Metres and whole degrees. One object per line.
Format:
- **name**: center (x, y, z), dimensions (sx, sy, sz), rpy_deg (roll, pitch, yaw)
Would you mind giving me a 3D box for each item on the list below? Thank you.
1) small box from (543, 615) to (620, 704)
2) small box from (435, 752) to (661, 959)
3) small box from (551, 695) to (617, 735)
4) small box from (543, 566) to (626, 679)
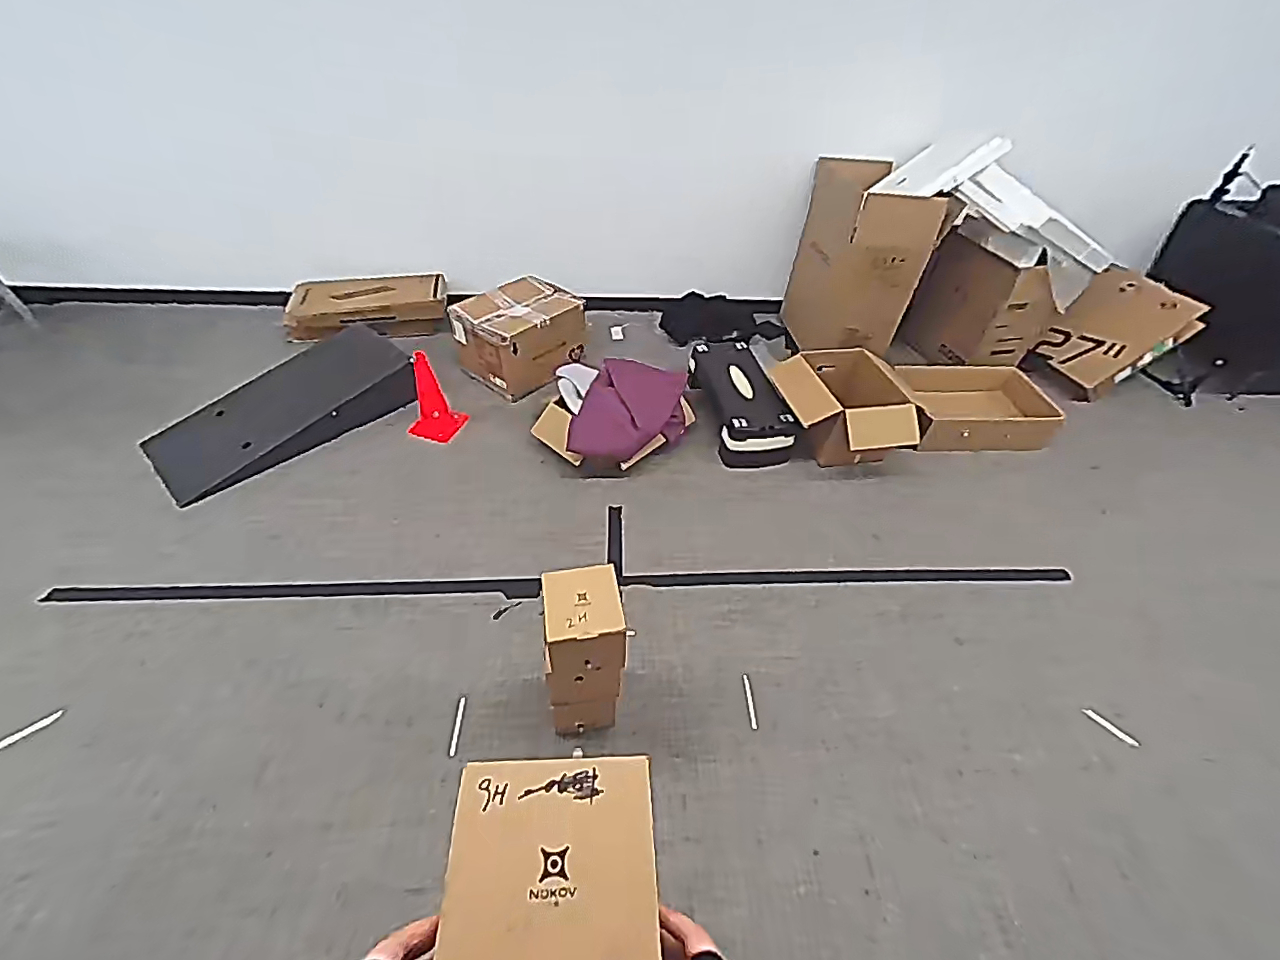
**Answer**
- **small box**: center (-0.142, 0.435, 1.333), dimensions (0.179, 0.176, 0.168), rpy_deg (-4, 45, -7)
- **small box**: center (-0.072, 0.363, 0.481), dimensions (0.168, 0.176, 0.179), rpy_deg (0, 47, -6)
- **small box**: center (-0.153, 0.555, 1.445), dimensions (0.168, 0.176, 0.179), rpy_deg (-6, 46, -8)
- **small box**: center (-0.127, 0.320, 1.215), dimensions (0.168, 0.176, 0.179), rpy_deg (-7, 45, -9)
